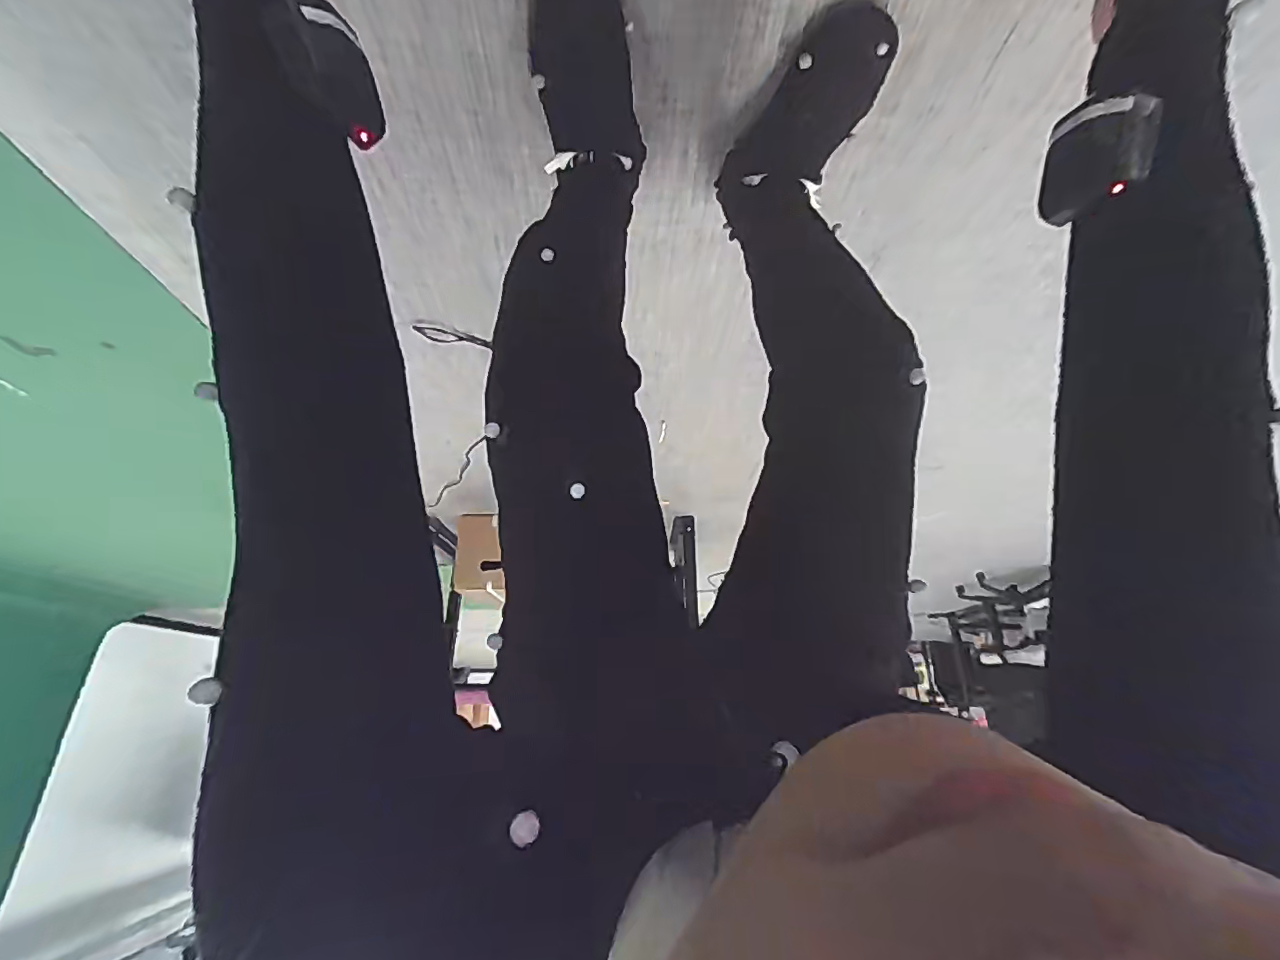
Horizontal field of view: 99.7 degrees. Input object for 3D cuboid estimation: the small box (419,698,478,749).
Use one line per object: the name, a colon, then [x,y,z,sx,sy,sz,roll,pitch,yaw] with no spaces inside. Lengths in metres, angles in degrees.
small box: [-0.726,0.927,2.069,0.168,0.176,0.179,0,160,-3]

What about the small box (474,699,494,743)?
small box: [-0.733,1.036,2.334,0.168,0.176,0.179,0,157,-3]
